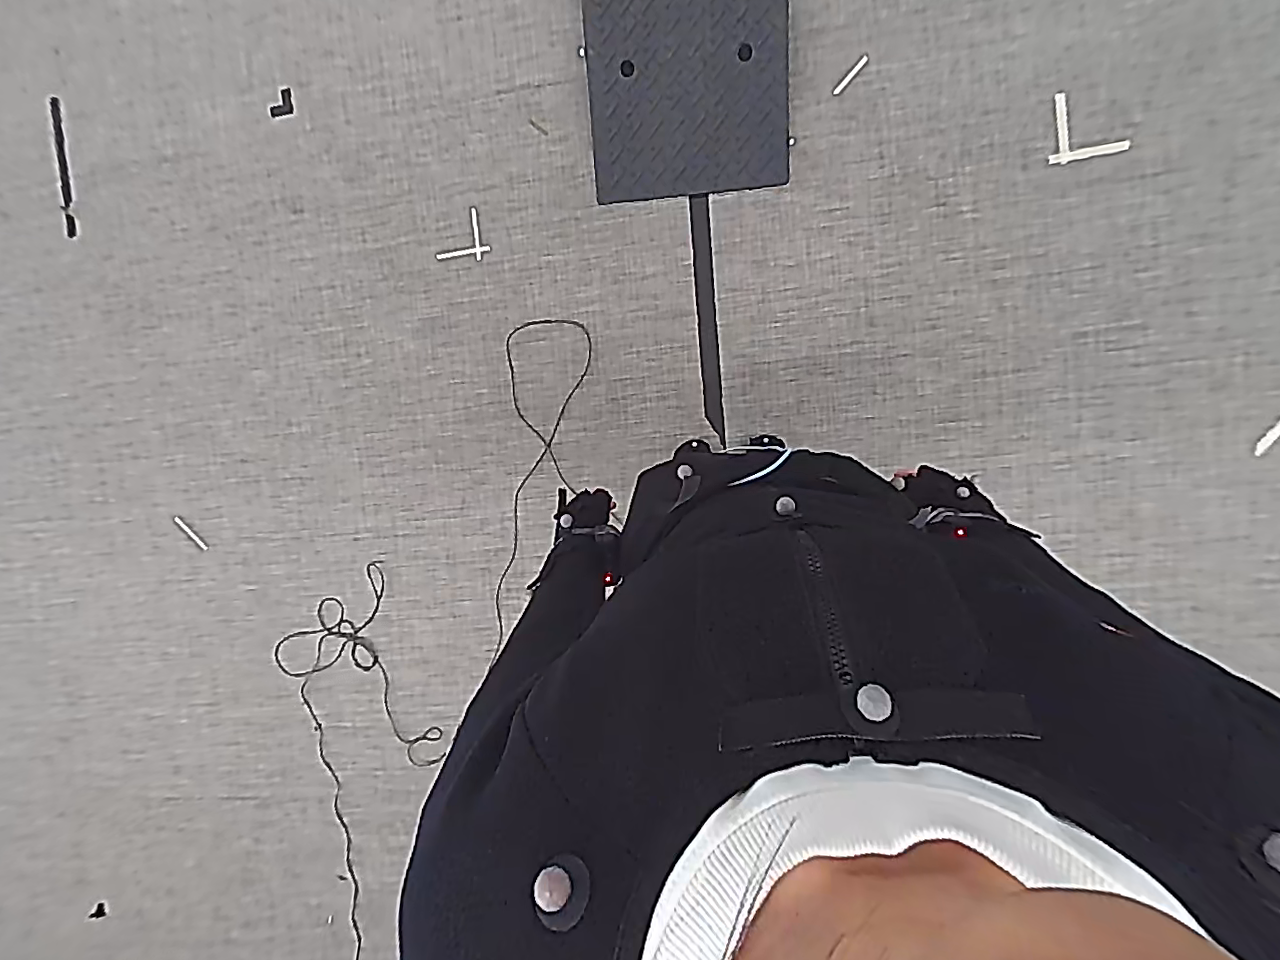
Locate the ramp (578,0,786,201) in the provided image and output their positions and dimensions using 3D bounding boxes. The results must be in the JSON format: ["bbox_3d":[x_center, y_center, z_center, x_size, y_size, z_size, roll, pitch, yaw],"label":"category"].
[{"bbox_3d":[0.089,-1.221,1.260,0.509,0.206,0.991,-4,95,6],"label":"ramp"}]
